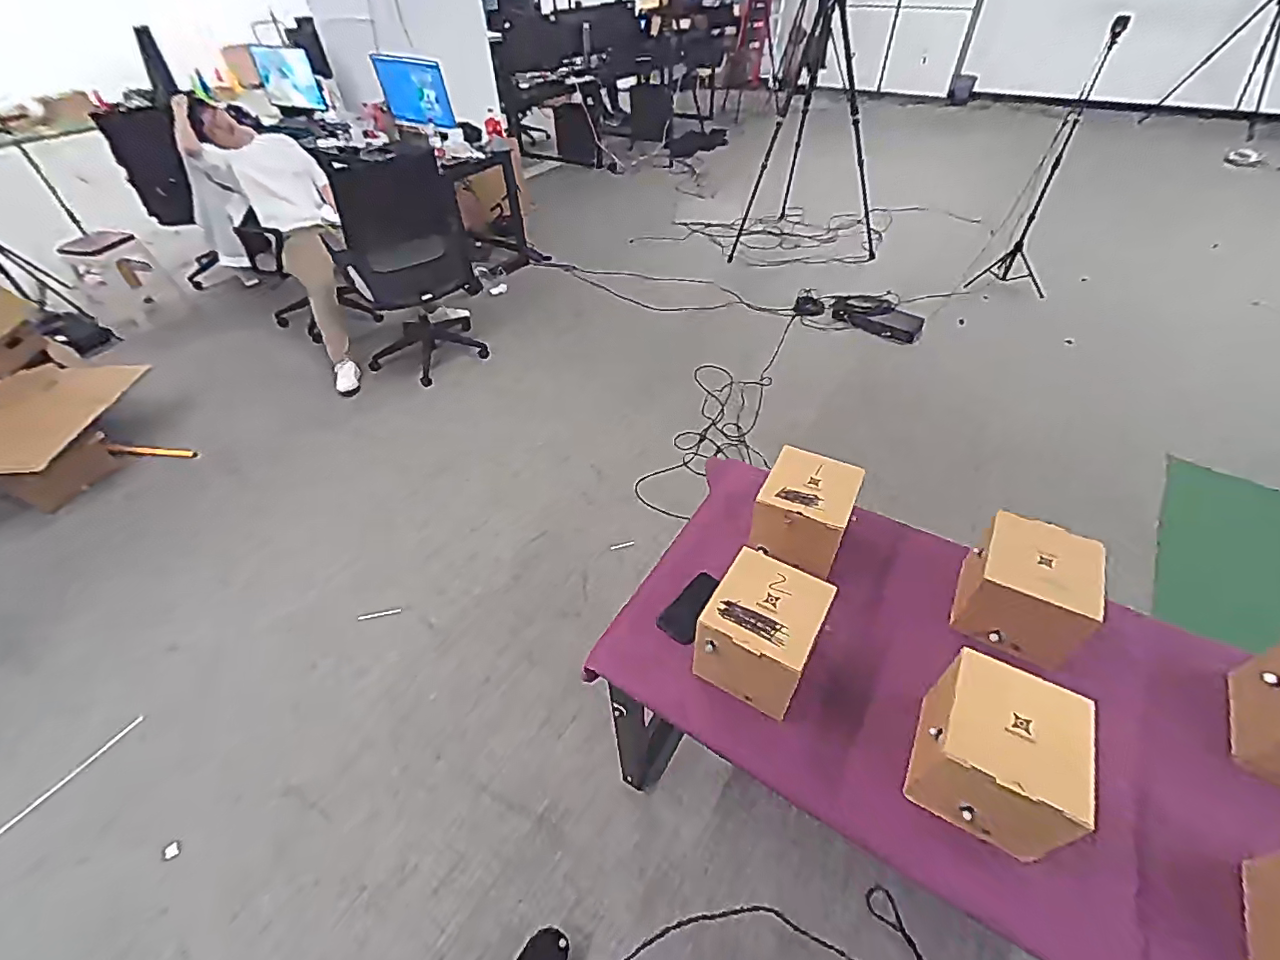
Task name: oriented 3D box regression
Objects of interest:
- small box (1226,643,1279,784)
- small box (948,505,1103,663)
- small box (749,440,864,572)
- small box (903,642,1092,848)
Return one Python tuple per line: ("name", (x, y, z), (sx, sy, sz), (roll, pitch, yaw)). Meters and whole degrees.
("small box", (1.002, 0.346, 0.775), (0.168, 0.176, 0.179), (26, 51, 26))
("small box", (0.669, 0.182, 0.951), (0.168, 0.176, 0.179), (23, 51, 24))
("small box", (0.327, 0.055, 1.085), (0.168, 0.176, 0.179), (21, 49, 20))
("small box", (0.496, 0.373, 0.765), (0.168, 0.176, 0.179), (23, 50, 22))
